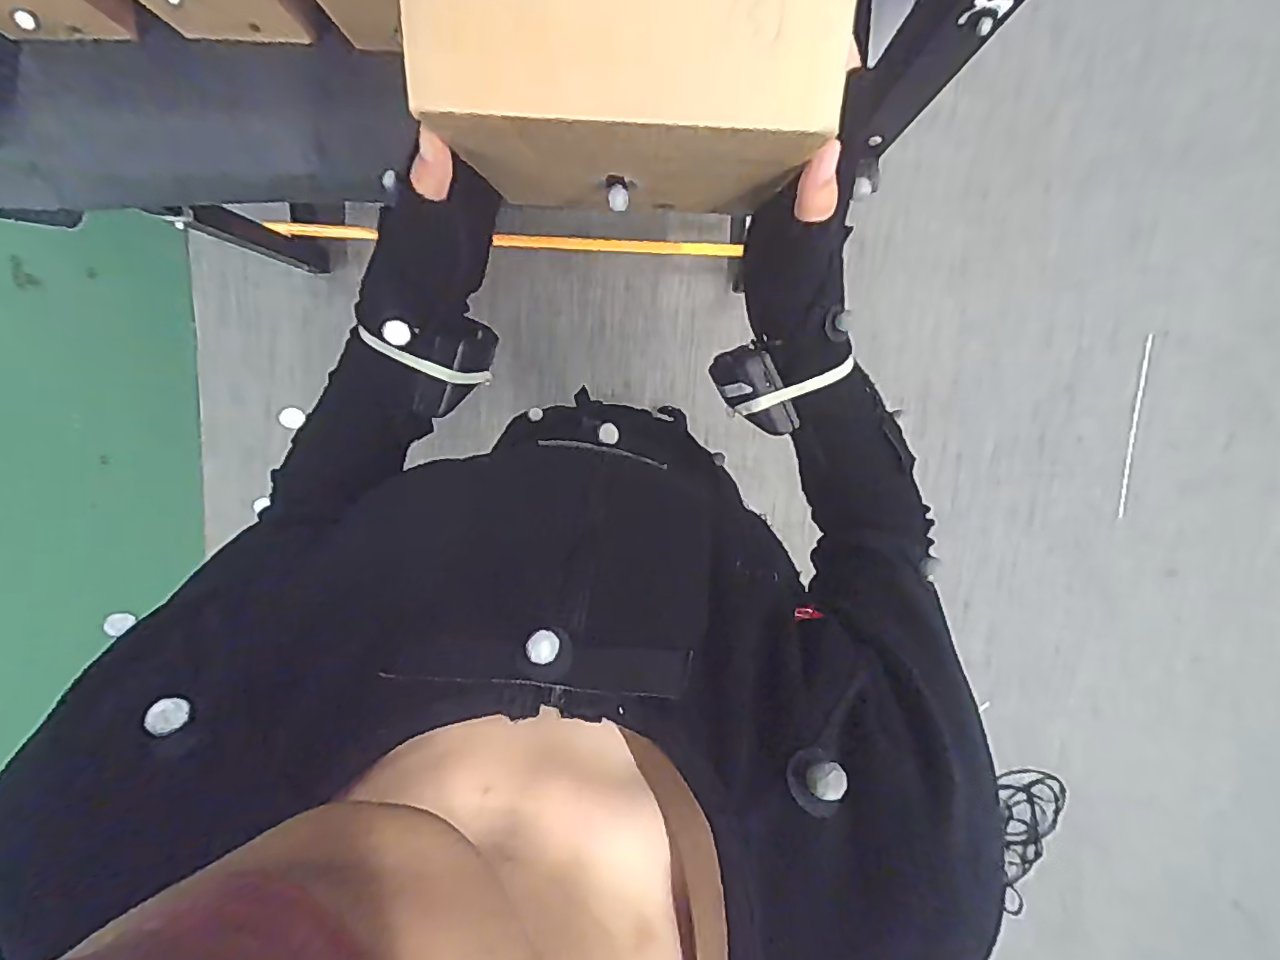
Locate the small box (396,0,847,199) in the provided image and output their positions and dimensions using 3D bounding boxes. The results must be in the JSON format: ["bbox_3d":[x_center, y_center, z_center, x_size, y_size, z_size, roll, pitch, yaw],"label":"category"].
[{"bbox_3d":[-0.002,-0.246,0.256,0.168,0.176,0.179,3,107,-2],"label":"small box"}]

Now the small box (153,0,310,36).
[{"bbox_3d":[-0.482,-0.624,0.580,0.168,0.176,0.179,3,97,0],"label":"small box"}]

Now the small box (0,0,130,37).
[{"bbox_3d":[-0.709,-0.630,0.581,0.168,0.176,0.179,1,98,1],"label":"small box"}]
